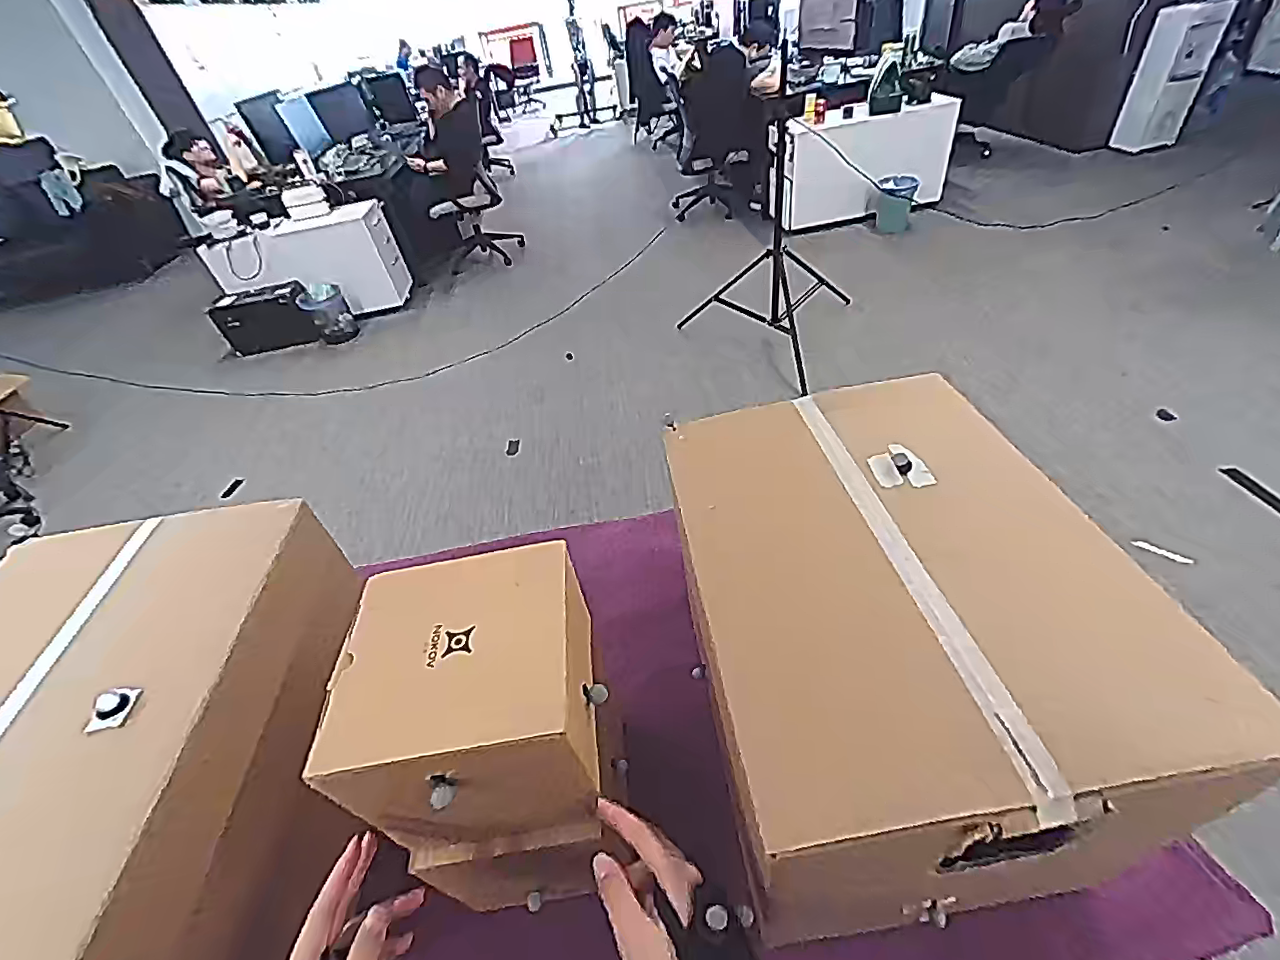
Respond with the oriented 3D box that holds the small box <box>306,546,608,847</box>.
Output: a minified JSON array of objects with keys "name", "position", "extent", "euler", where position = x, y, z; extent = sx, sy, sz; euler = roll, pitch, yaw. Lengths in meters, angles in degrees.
[{"name":"small box","position":[-0.126,0.183,0.456],"extent":[0.179,0.176,0.168],"euler":[-11,41,2]}]

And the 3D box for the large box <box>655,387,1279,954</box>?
[{"name":"large box","position":[0.216,0.164,0.543],"extent":[0.320,0.320,0.408],"euler":[-11,41,0]}]
